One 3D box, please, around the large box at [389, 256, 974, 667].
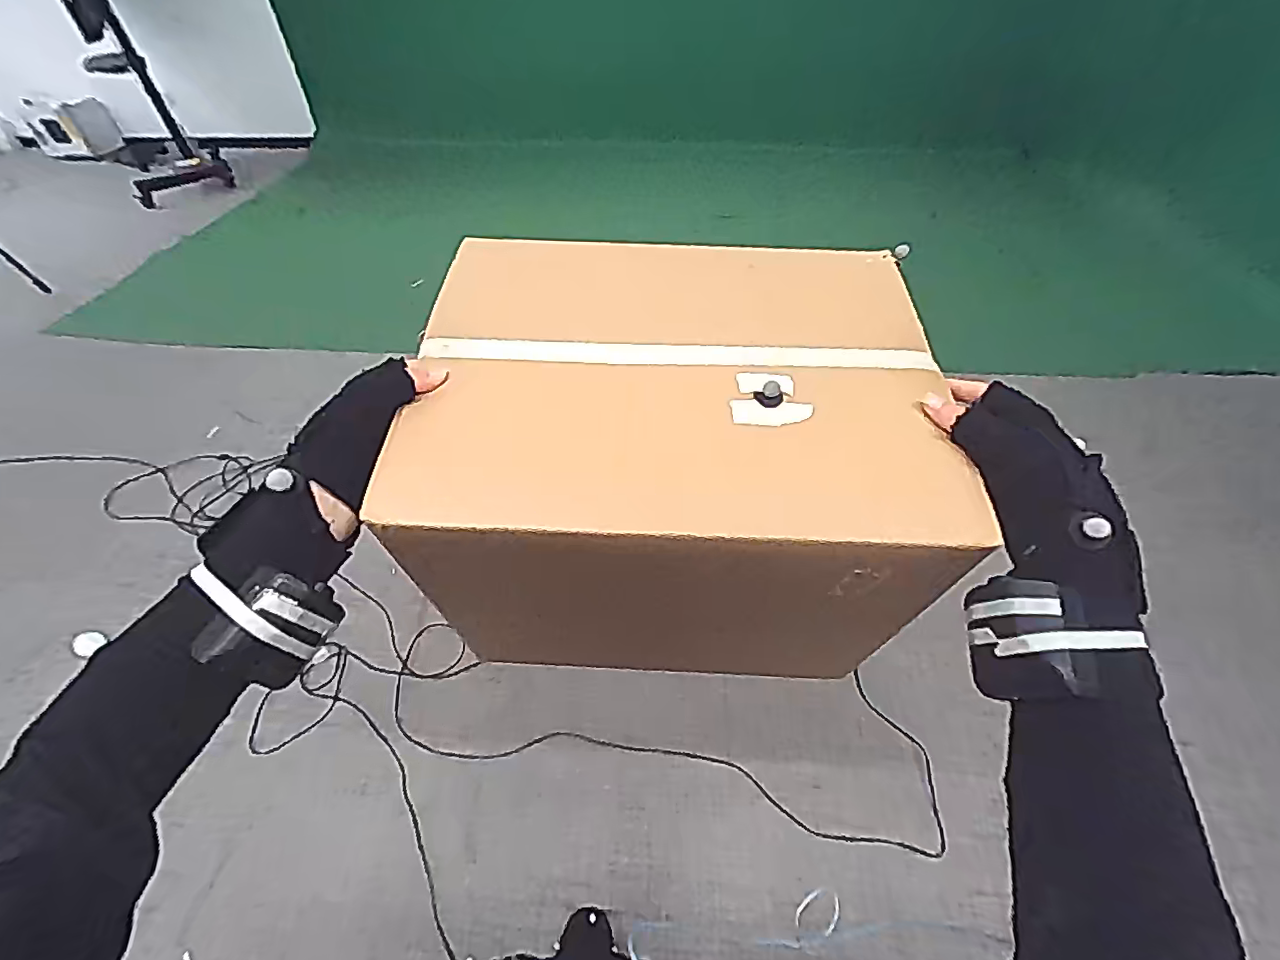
[{"bbox_3d":[0.027,-0.005,0.566,0.408,0.320,0.320,3,56,0],"label":"large box"}]
